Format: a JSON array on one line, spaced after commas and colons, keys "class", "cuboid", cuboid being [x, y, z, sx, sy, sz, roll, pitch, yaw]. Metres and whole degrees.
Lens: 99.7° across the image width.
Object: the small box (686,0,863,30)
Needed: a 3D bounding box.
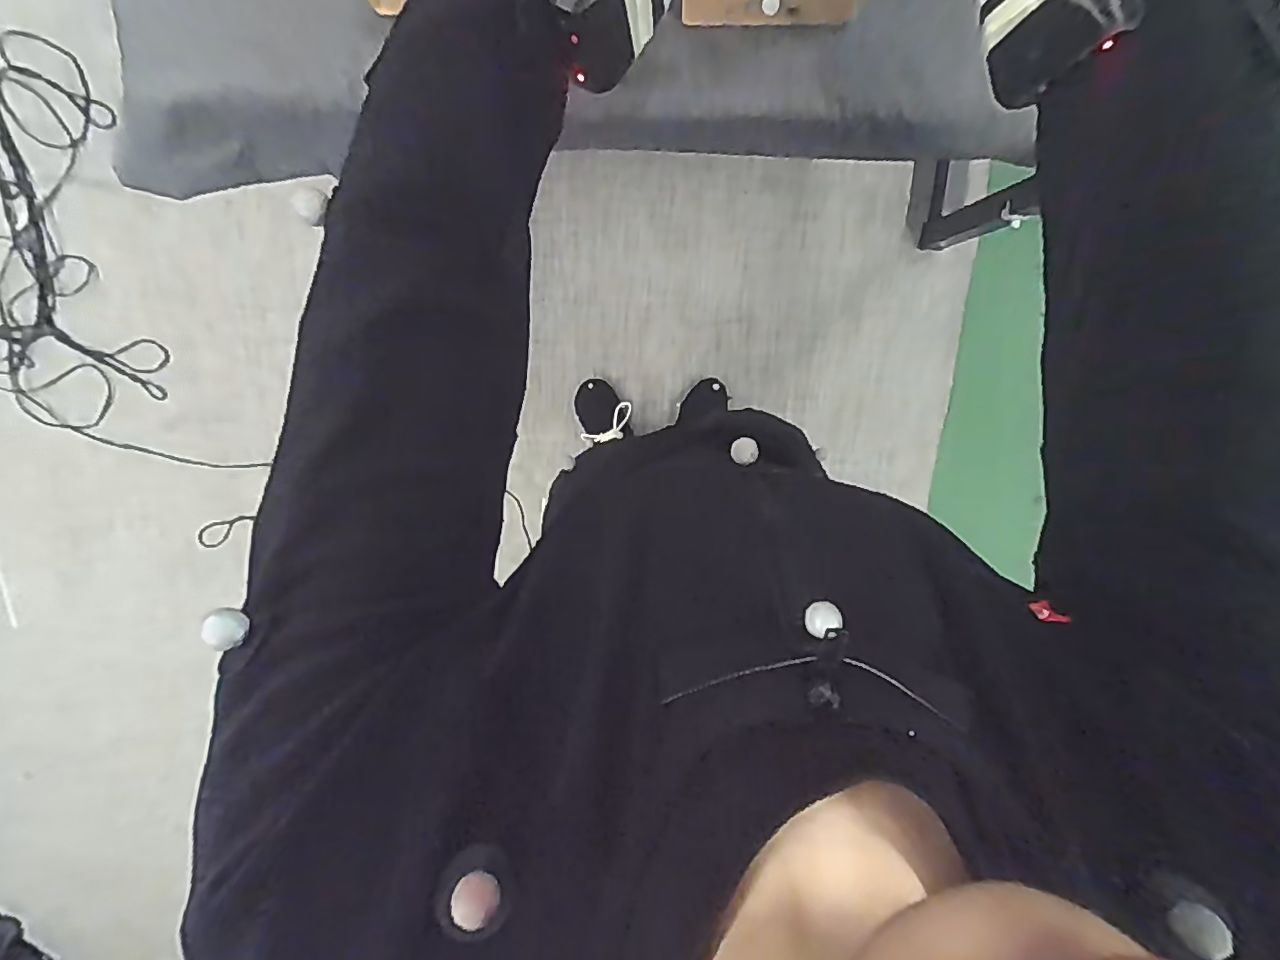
[{"class": "small box", "cuboid": [0.123, -0.505, 0.425, 0.168, 0.176, 0.179, 1, 103, 2]}]
